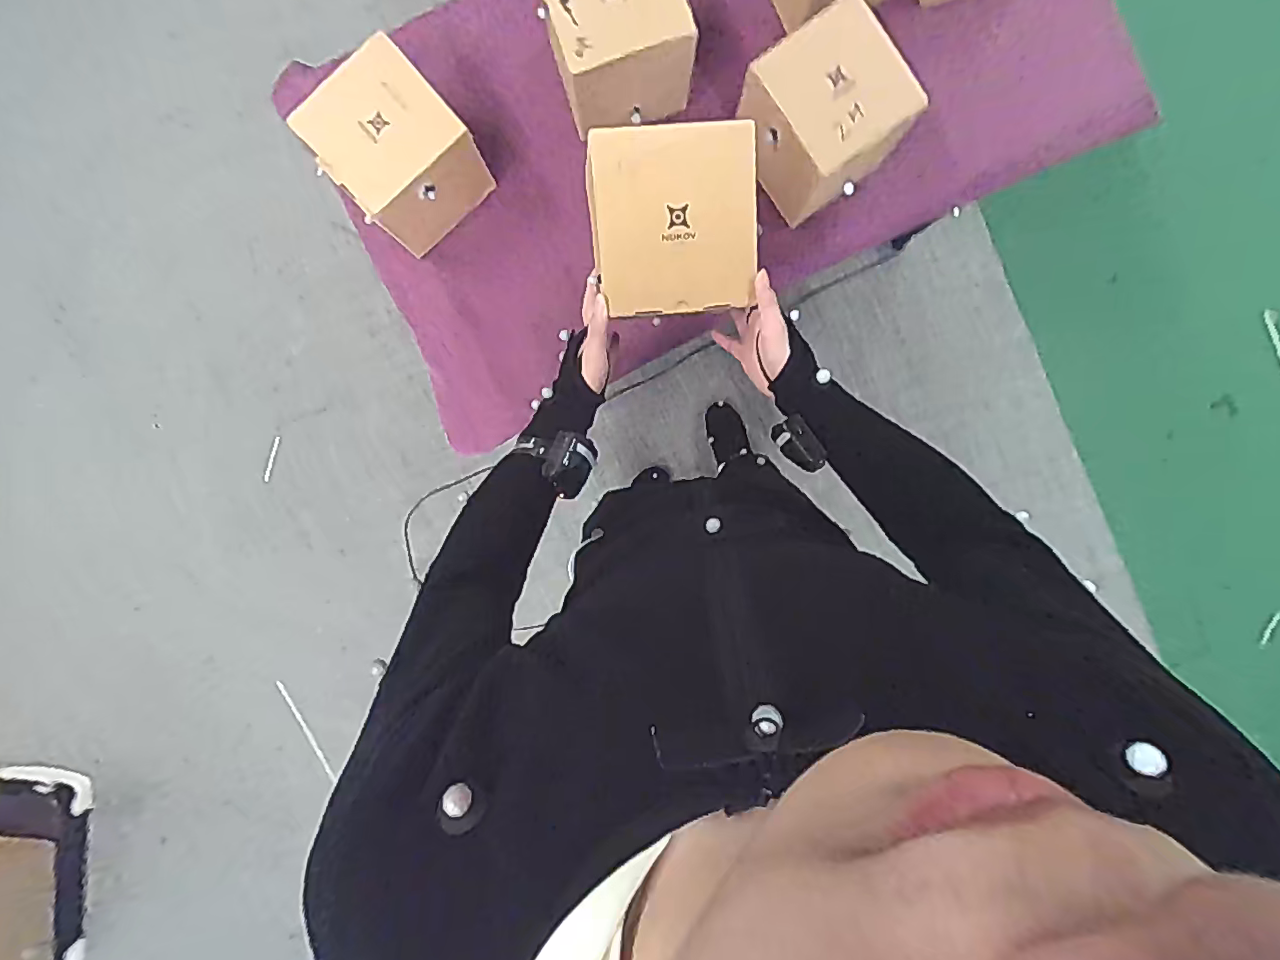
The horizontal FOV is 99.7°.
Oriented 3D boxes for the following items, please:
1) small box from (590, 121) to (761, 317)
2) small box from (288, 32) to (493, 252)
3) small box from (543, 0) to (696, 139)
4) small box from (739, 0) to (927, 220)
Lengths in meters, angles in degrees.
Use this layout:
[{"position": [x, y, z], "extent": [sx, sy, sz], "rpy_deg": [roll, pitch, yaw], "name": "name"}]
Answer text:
[{"position": [0.033, -0.283, 0.620], "extent": [0.168, 0.176, 0.179], "rpy_deg": [-6, 108, -5], "name": "small box"}, {"position": [-0.343, -0.467, 0.783], "extent": [0.179, 0.176, 0.168], "rpy_deg": [-41, 94, 3], "name": "small box"}, {"position": [-0.034, -0.632, 0.770], "extent": [0.179, 0.176, 0.168], "rpy_deg": [-18, 94, 1], "name": "small box"}, {"position": [0.257, -0.517, 0.775], "extent": [0.168, 0.176, 0.179], "rpy_deg": [-35, 92, 3], "name": "small box"}]
